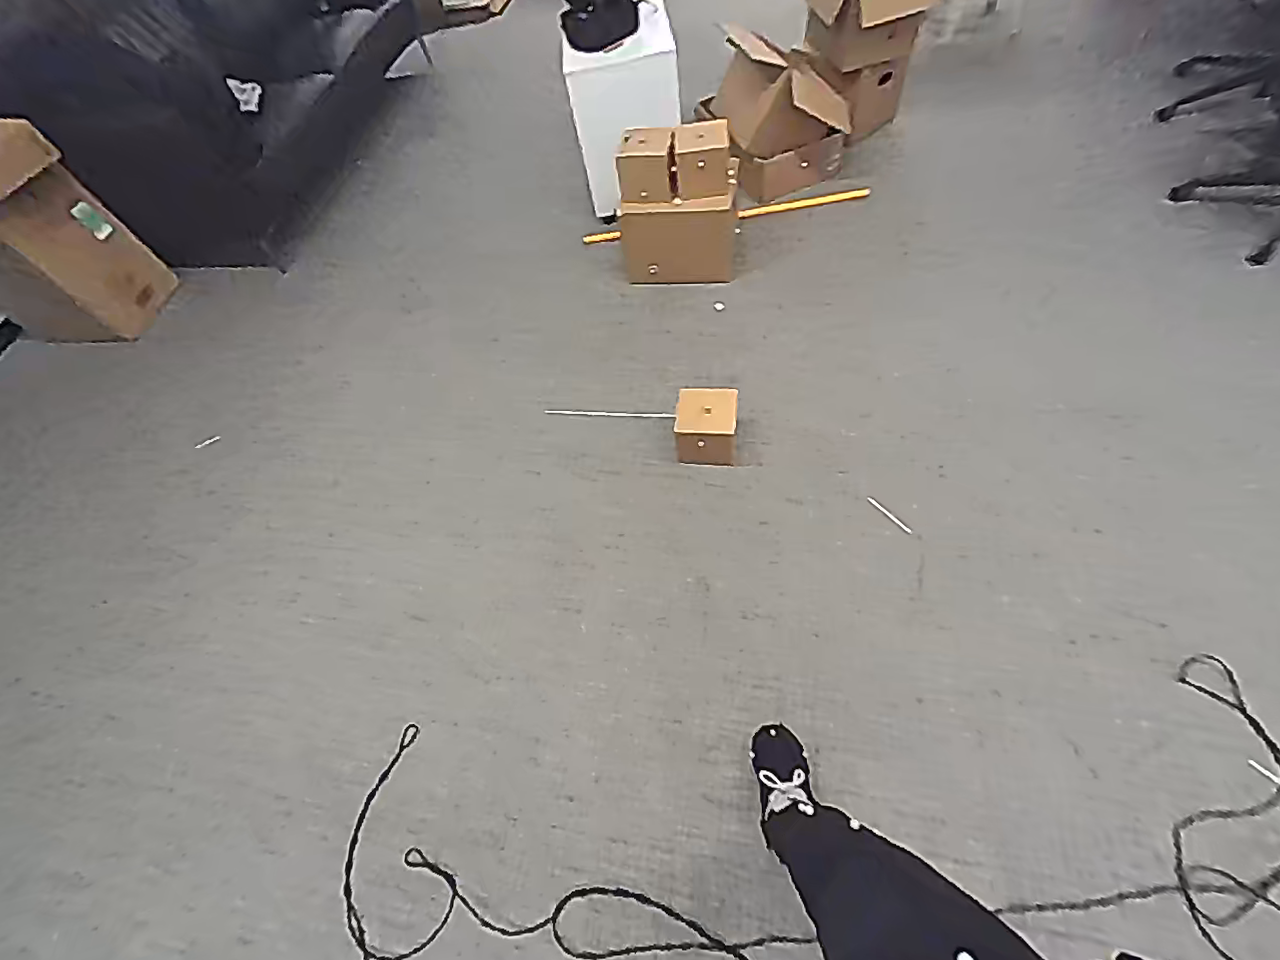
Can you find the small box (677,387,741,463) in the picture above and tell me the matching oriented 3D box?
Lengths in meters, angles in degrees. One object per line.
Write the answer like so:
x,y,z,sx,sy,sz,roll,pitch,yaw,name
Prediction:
0.213,-0.162,1.632,0.179,0.176,0.168,3,60,12,small box
